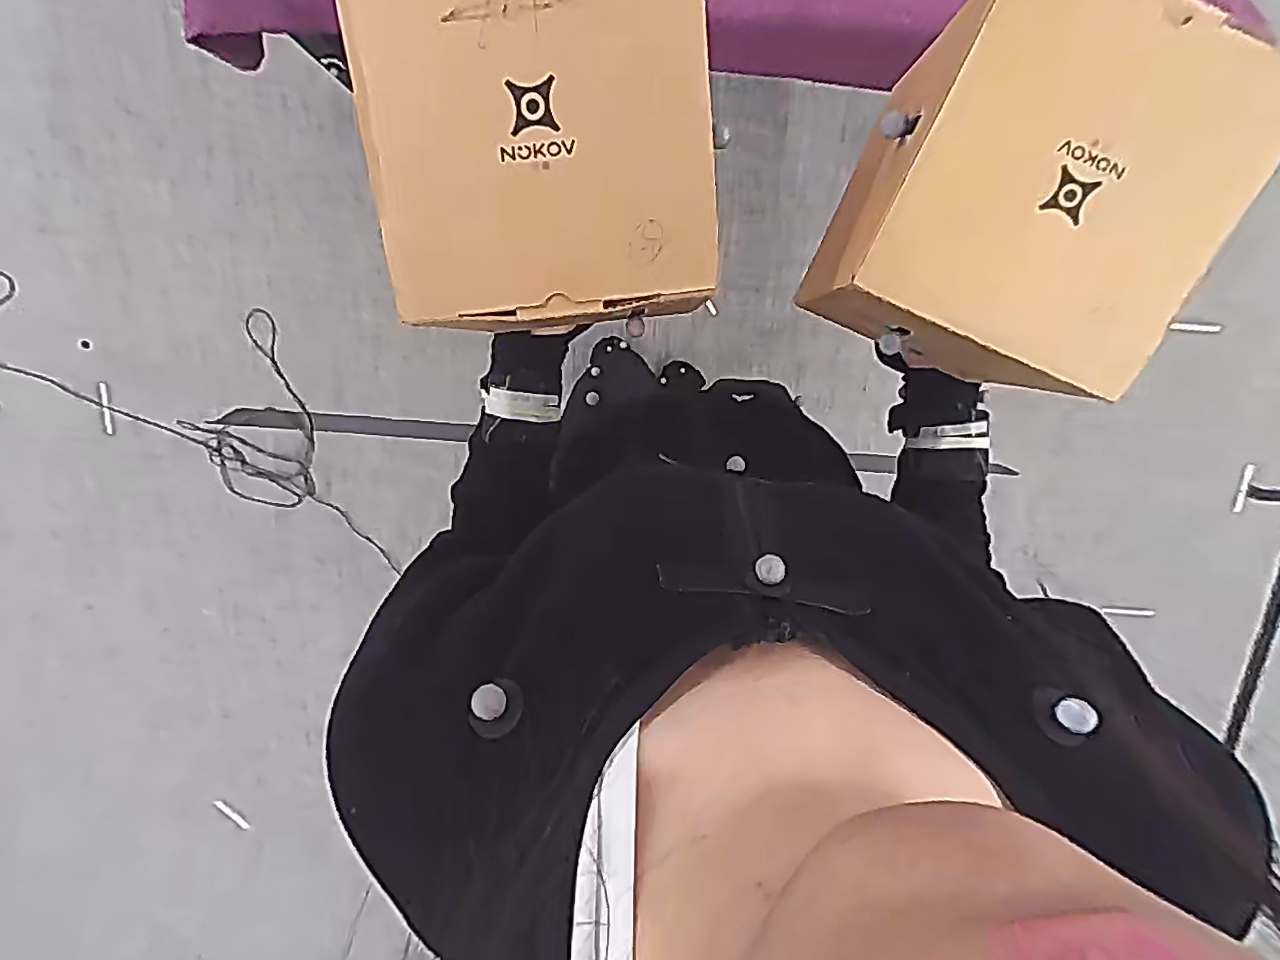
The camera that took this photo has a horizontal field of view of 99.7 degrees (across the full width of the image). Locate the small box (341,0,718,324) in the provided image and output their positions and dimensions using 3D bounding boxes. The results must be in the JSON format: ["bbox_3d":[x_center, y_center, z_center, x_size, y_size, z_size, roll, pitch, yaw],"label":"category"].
[{"bbox_3d":[-0.047,-0.192,0.330,0.168,0.176,0.179,-6,103,2],"label":"small box"}]

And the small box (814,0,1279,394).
[{"bbox_3d":[0.232,-0.170,0.355,0.168,0.176,0.179,22,102,0],"label":"small box"}]
